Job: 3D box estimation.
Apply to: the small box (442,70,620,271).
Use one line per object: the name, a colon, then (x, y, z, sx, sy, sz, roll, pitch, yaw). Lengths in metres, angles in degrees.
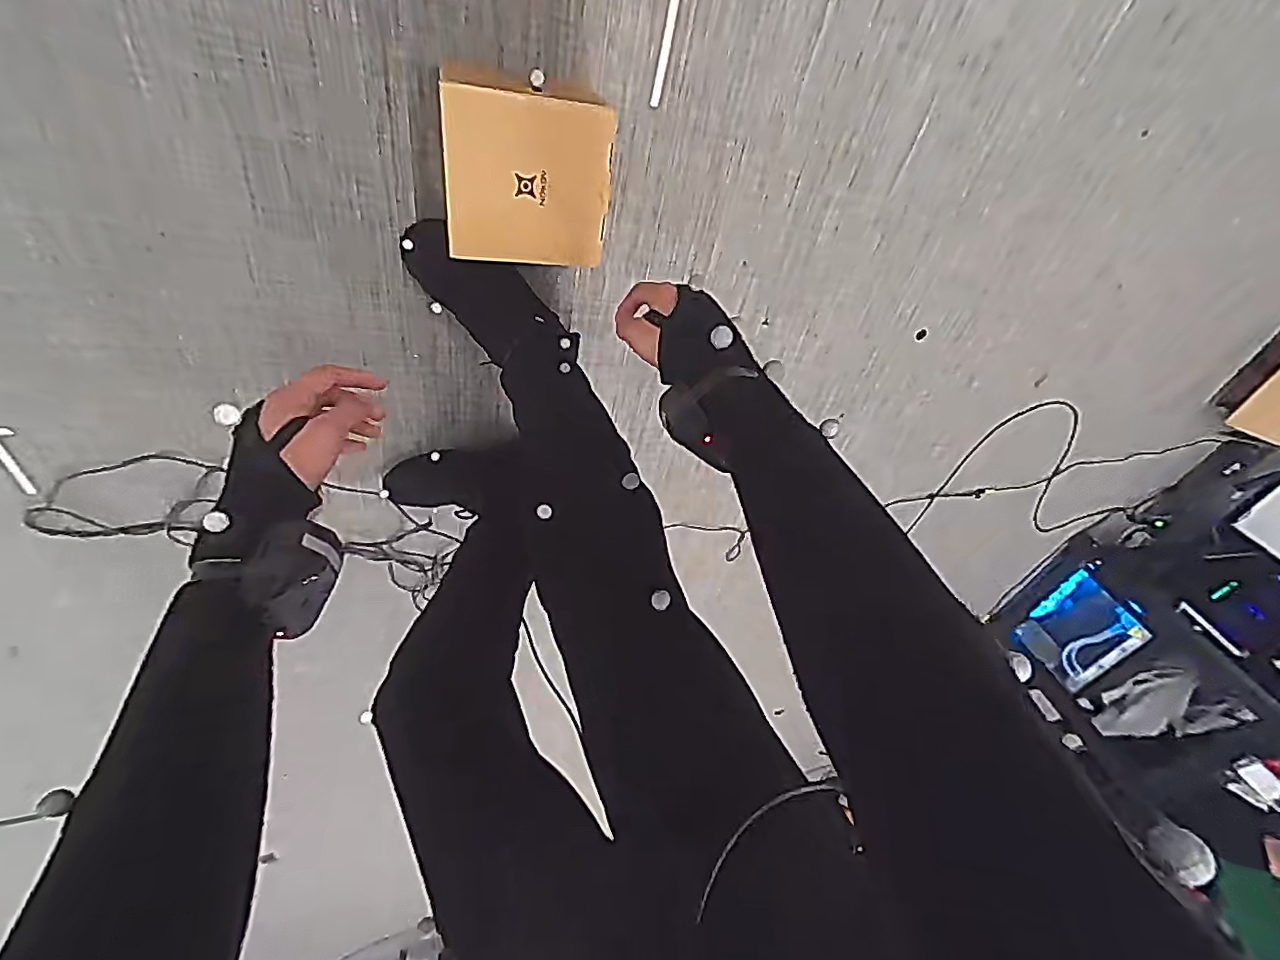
small box: (-0.137, -0.367, 0.642, 0.179, 0.176, 0.168, -4, 133, -18)
